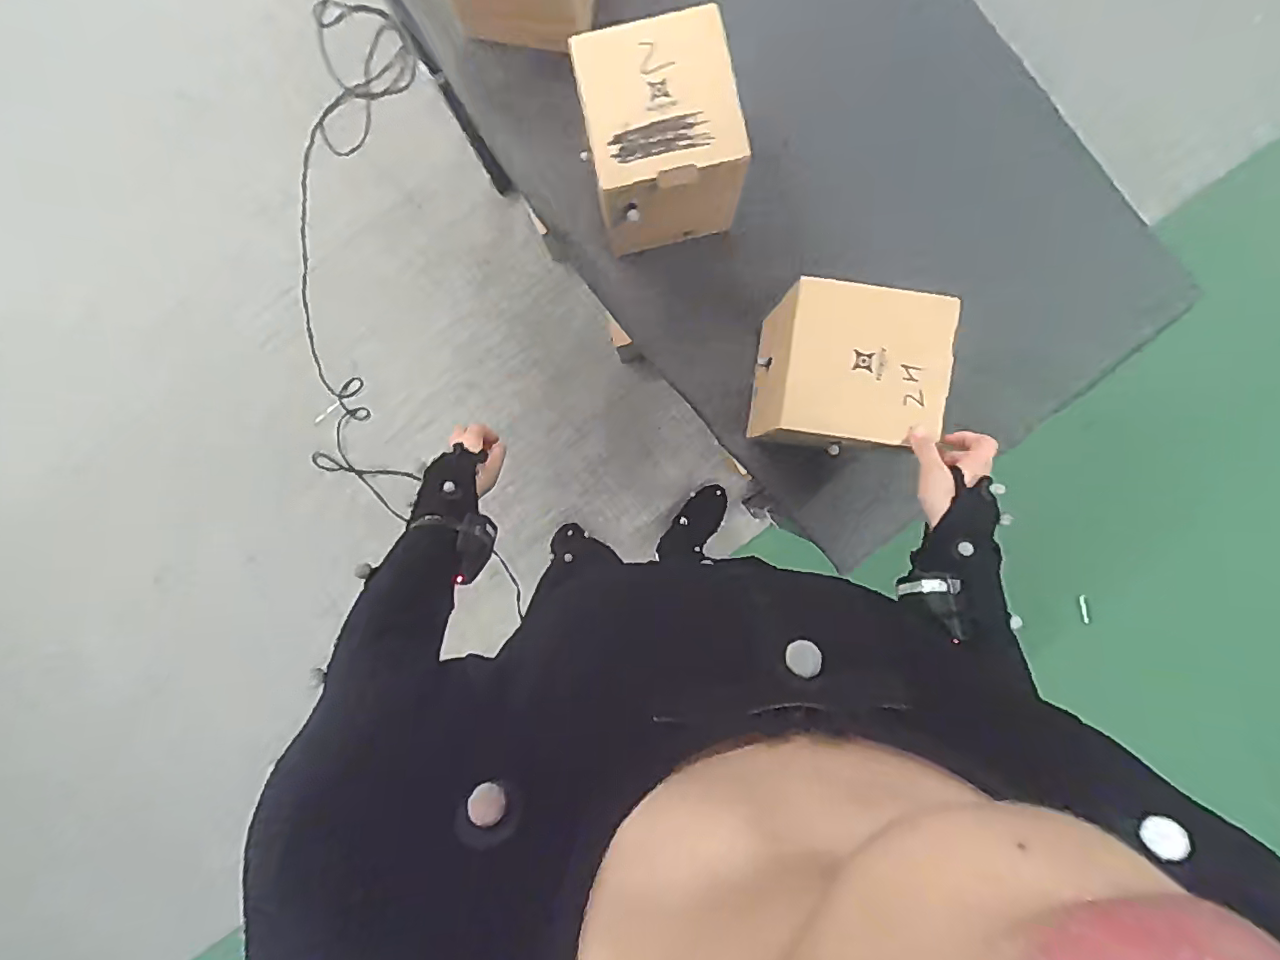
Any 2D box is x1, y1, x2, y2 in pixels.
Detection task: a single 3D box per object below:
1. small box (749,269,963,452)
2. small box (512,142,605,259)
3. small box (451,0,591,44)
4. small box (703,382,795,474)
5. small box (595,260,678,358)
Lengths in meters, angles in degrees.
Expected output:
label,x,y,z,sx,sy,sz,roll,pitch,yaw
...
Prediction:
label,x,y,z,sx,sy,sz,roll,pitch,yaw
small box,0.238,-0.127,0.641,0.179,0.176,0.168,9,90,-1
small box,-0.204,-0.709,1.389,0.168,0.176,0.179,-25,88,3
small box,-0.154,-0.683,0.660,0.179,0.176,0.168,10,91,2
small box,0.274,-0.127,1.373,0.168,0.176,0.179,-32,90,3
small box,-0.004,-0.426,1.384,0.168,0.176,0.179,-18,88,1
